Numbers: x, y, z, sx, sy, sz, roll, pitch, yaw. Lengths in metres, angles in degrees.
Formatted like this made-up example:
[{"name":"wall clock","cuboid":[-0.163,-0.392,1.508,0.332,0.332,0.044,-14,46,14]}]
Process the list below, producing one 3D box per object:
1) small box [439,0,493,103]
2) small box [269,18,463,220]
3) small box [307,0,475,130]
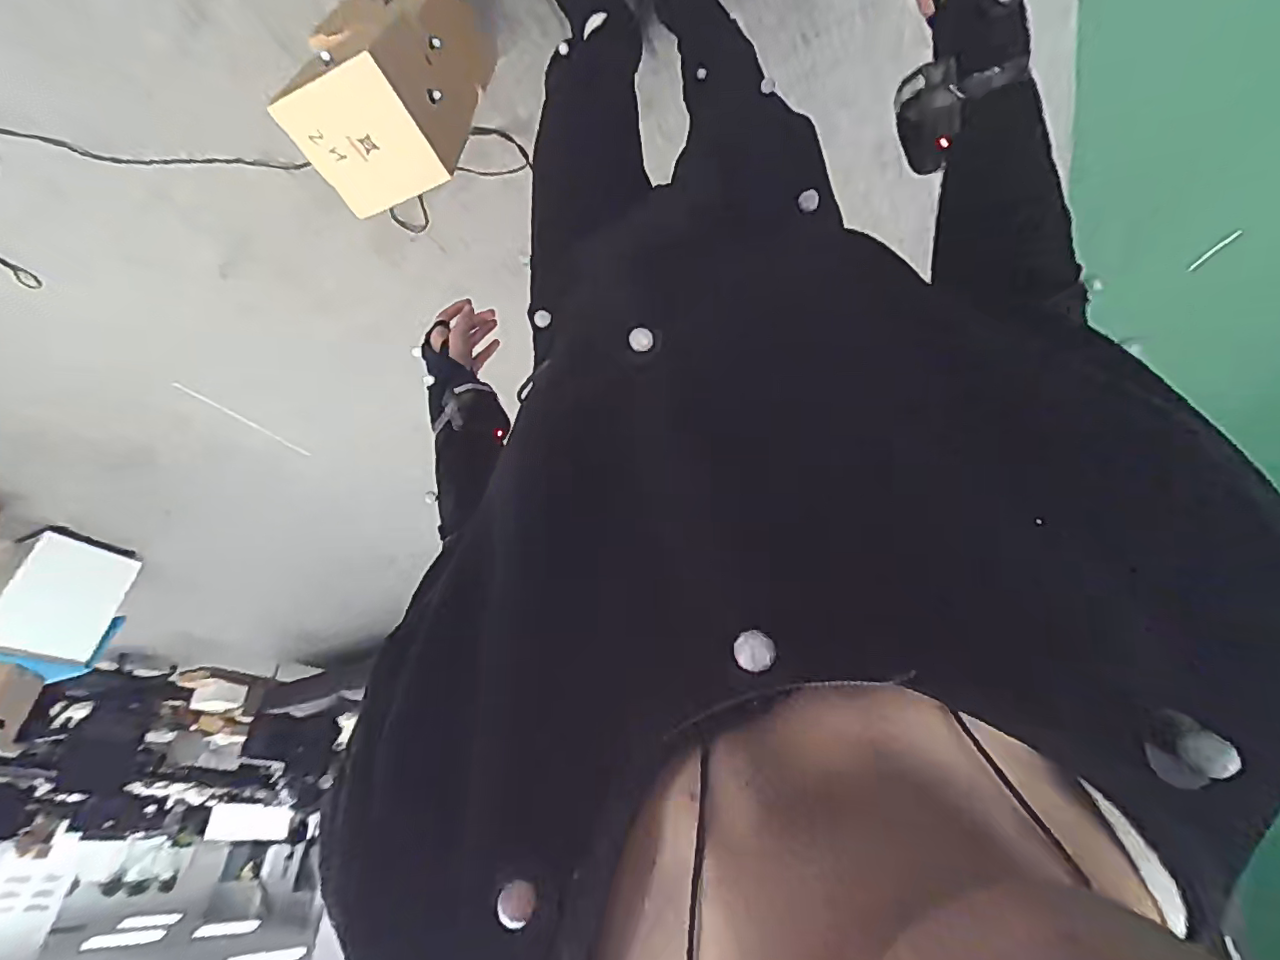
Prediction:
[{"name":"small box","cuboid":[-0.383,-0.792,0.971,0.168,0.176,0.179,-8,145,11]},{"name":"small box","cuboid":[-0.378,-0.522,0.786,0.179,0.176,0.168,-12,142,17]},{"name":"small box","cuboid":[-0.388,-0.657,0.883,0.168,0.176,0.179,-4,144,7]}]
